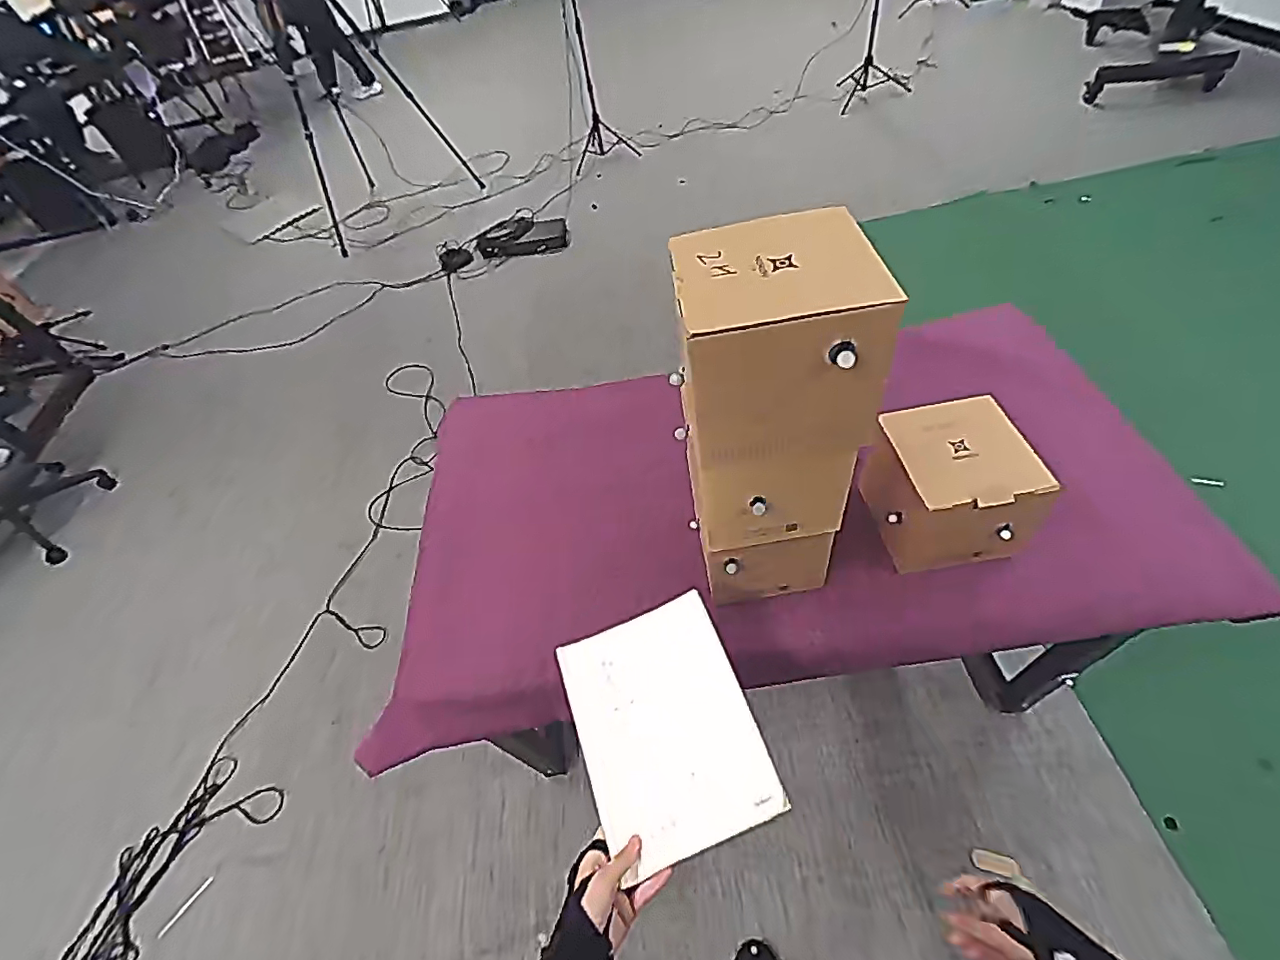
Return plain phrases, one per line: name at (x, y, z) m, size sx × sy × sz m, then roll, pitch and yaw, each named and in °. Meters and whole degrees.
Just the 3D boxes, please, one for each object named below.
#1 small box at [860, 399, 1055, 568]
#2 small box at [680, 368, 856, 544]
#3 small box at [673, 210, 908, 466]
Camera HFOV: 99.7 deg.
small box at (0.438, 0.014, 0.782) m, size 0.168 × 0.176 × 0.179 m, roll -9°, pitch 50°, yaw 3°
small box at (0.149, -0.035, 0.667) m, size 0.168 × 0.176 × 0.179 m, roll -10°, pitch 50°, yaw 4°
small box at (0.132, -0.134, 0.536) m, size 0.179 × 0.176 × 0.168 m, roll -8°, pitch 50°, yaw 5°
